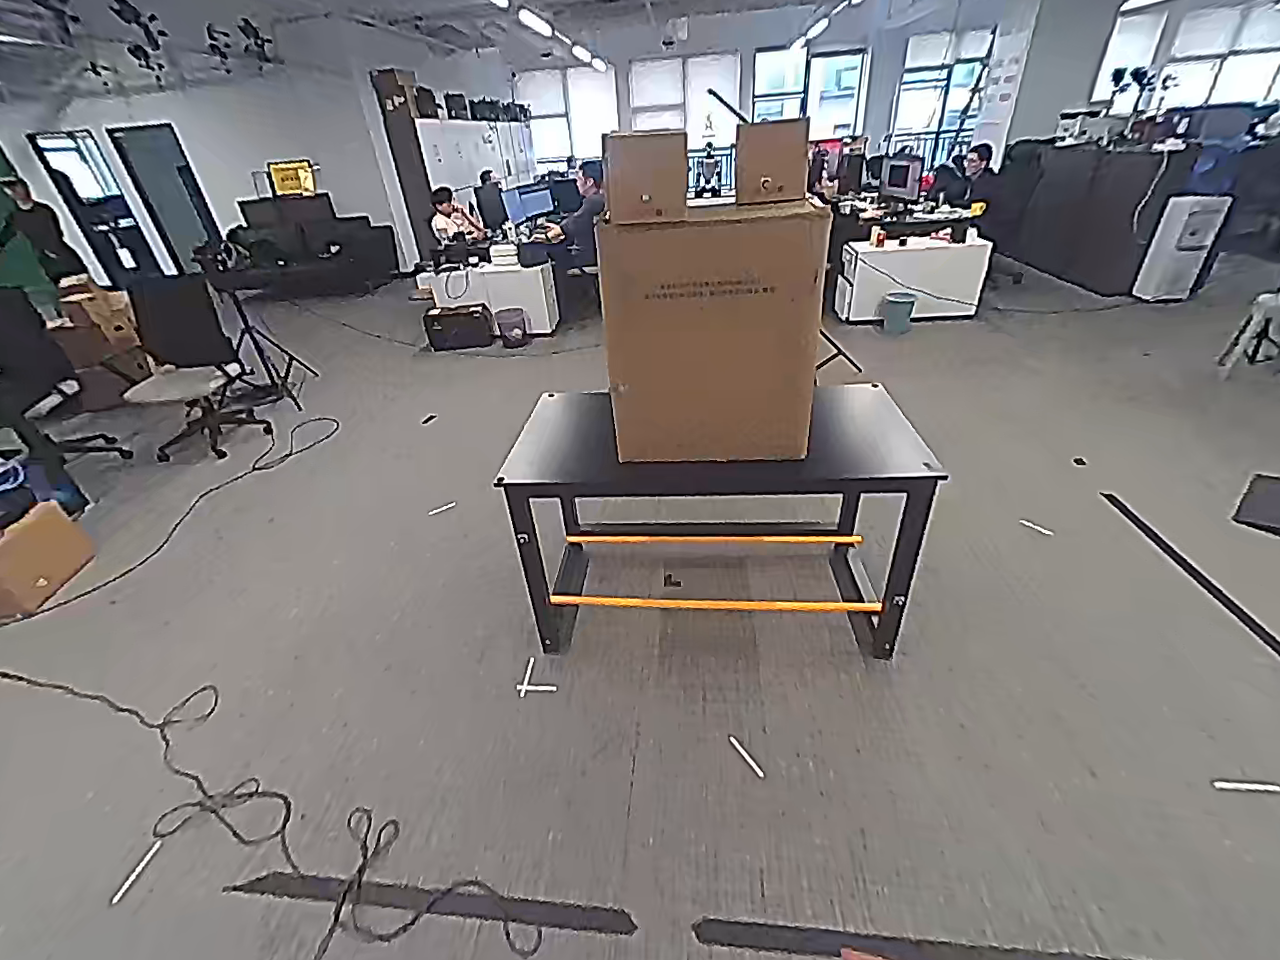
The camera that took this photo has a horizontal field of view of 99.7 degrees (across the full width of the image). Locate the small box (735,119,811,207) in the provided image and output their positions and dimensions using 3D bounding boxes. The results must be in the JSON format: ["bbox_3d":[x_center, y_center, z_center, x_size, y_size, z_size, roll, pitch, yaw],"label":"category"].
[{"bbox_3d":[0.319,-0.774,1.327,0.168,0.176,0.179,-1,32,9],"label":"small box"}]
